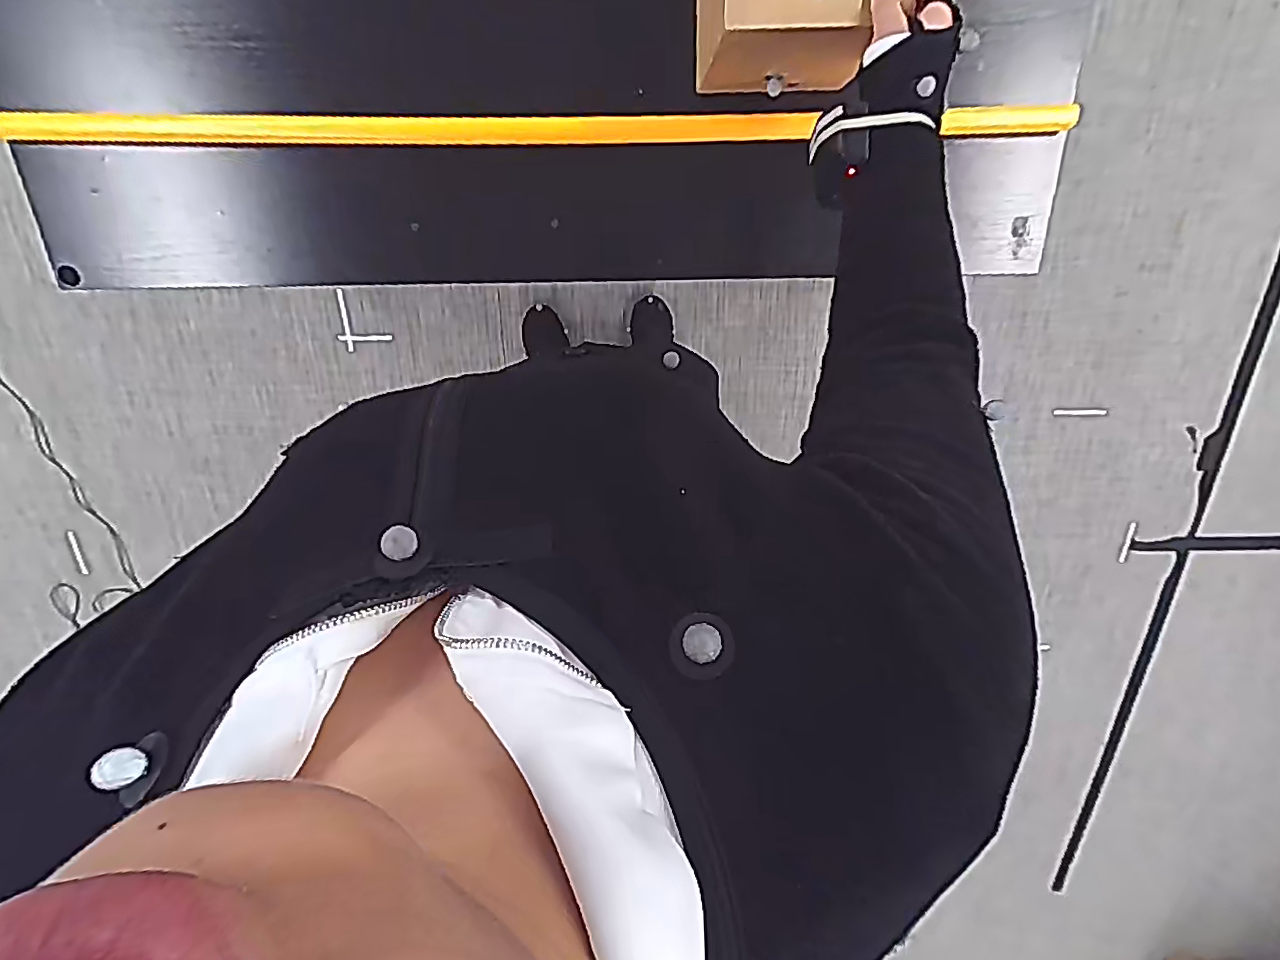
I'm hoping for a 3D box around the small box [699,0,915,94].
[{"bbox_3d":[0.149,-0.496,0.510,0.168,0.176,0.179,-2,110,-1],"label":"small box"}]
